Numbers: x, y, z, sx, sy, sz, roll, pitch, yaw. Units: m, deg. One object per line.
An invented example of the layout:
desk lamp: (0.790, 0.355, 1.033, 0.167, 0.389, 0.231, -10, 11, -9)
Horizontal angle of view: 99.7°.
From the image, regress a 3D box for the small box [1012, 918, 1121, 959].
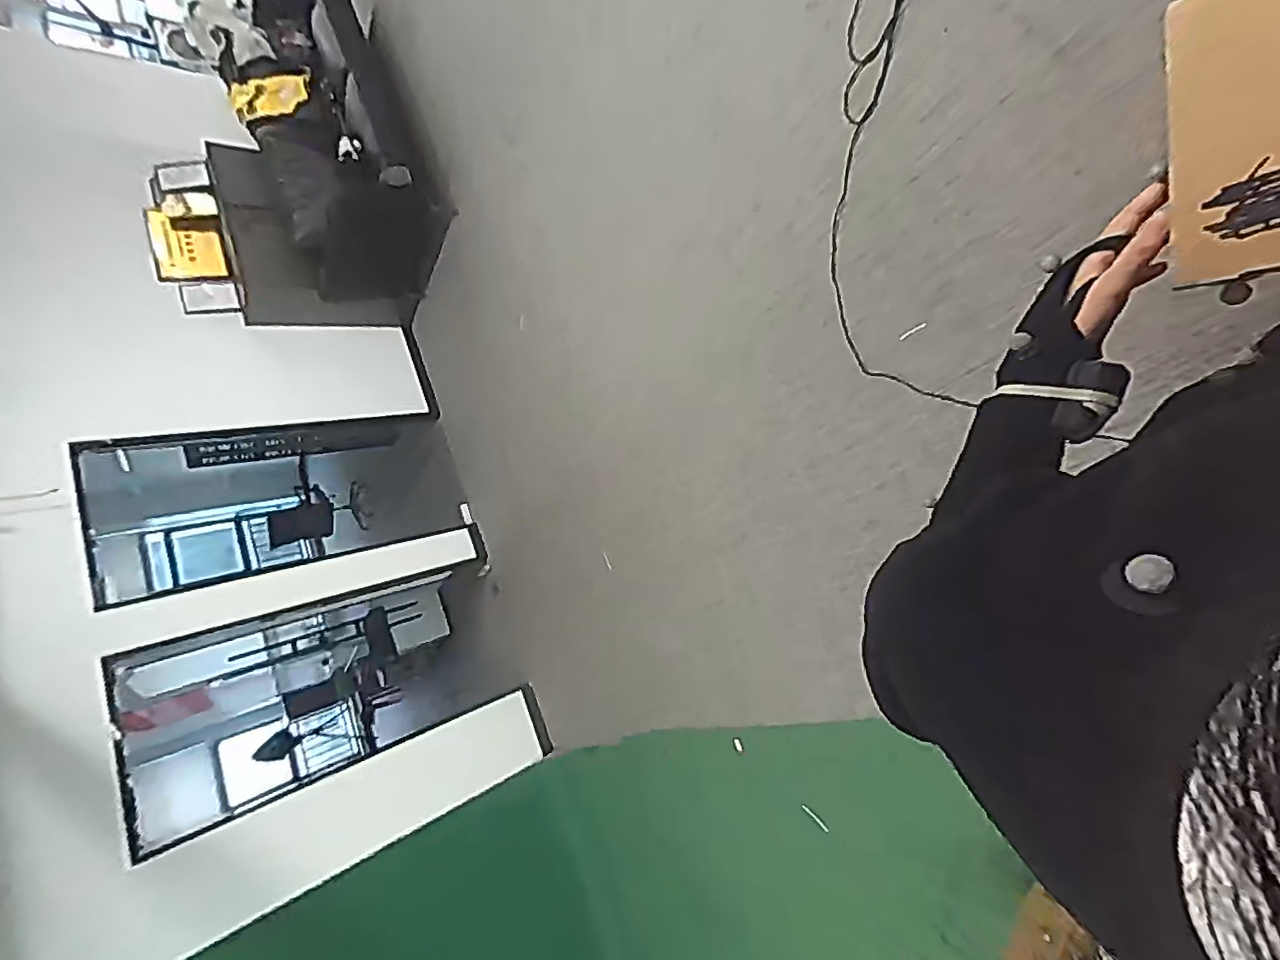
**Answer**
small box: (0.968, 1.133, 1.195, 0.168, 0.176, 0.179, -32, 75, 49)
